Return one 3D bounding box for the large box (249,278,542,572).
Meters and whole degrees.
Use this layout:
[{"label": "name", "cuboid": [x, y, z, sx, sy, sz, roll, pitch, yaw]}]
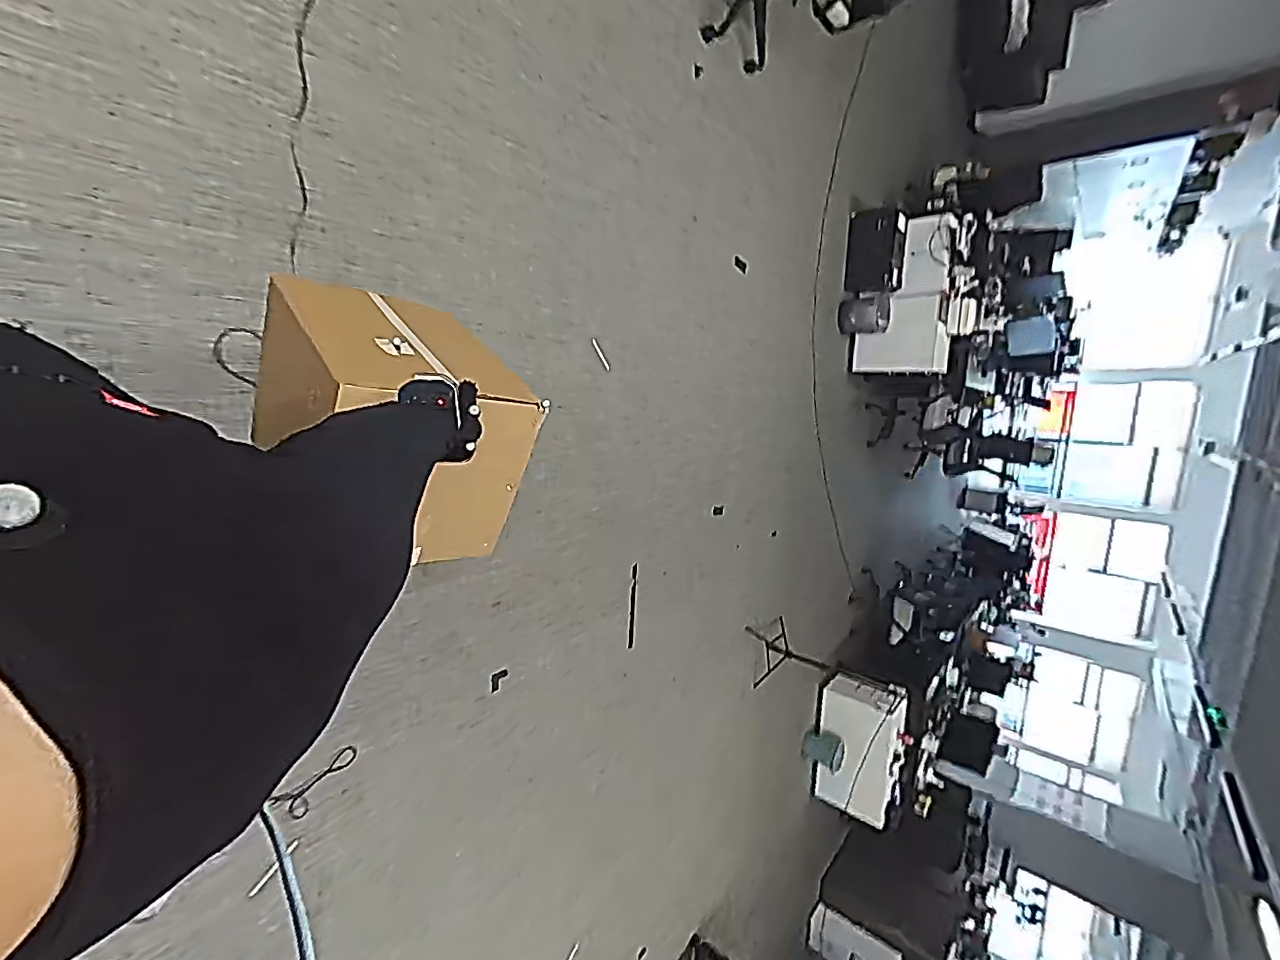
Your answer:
[{"label": "large box", "cuboid": [-0.446, -0.099, 0.950, 0.320, 0.408, 0.320, -1, 126, -46]}]
